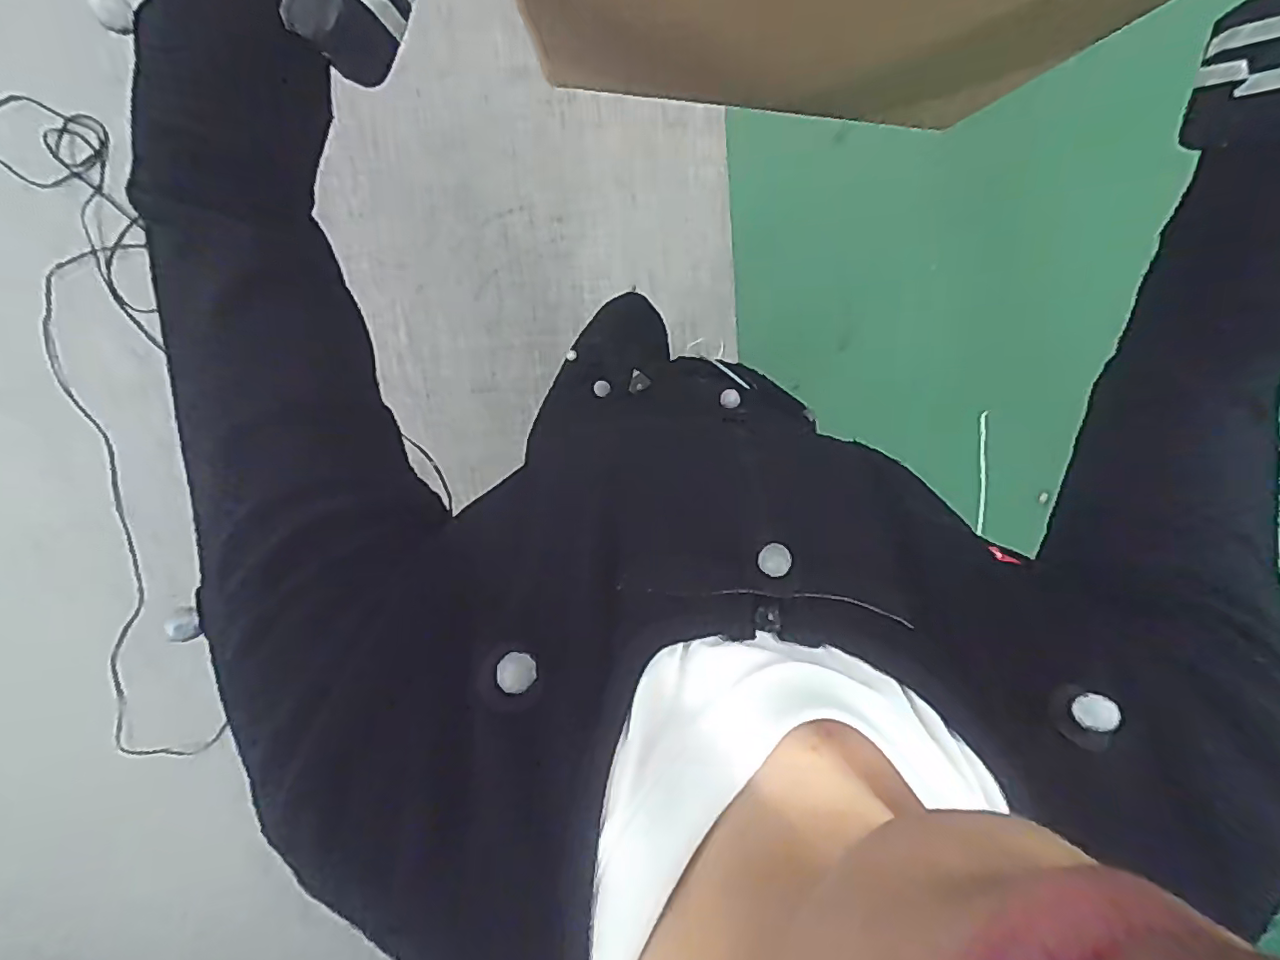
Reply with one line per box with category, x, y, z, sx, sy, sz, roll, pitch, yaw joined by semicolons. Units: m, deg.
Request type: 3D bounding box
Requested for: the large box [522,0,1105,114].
large box;0.117;-0.480;0.351;0.408;0.320;0.320;4;107;-3
